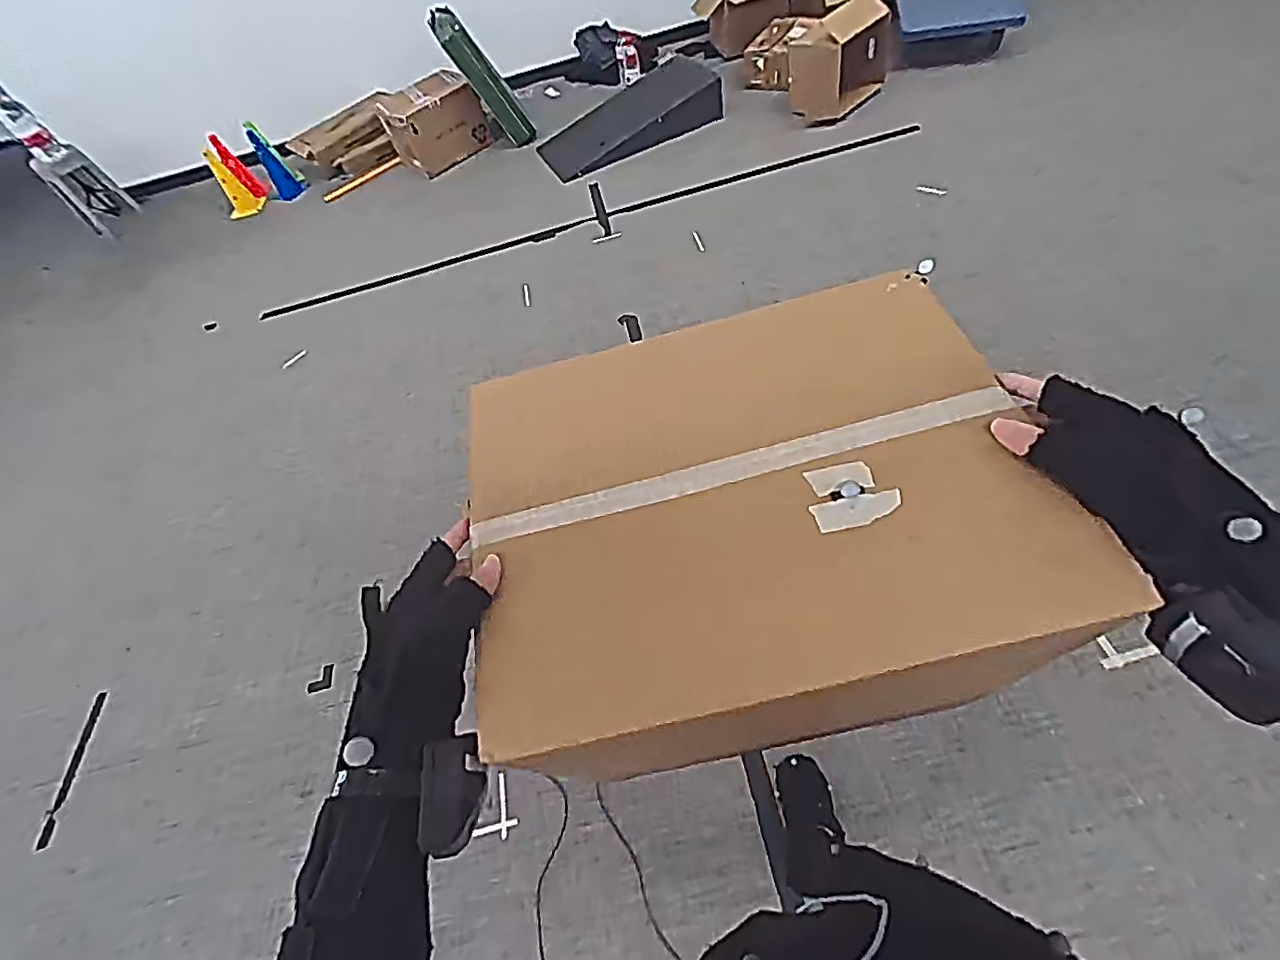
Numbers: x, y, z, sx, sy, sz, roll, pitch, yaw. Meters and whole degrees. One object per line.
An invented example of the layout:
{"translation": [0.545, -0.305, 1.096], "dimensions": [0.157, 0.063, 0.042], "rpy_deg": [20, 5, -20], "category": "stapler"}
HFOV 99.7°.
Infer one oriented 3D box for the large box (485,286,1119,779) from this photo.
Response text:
{"translation": [0.099, 0.075, 0.540], "dimensions": [0.408, 0.320, 0.320], "rpy_deg": [-15, 58, 2], "category": "large box"}
